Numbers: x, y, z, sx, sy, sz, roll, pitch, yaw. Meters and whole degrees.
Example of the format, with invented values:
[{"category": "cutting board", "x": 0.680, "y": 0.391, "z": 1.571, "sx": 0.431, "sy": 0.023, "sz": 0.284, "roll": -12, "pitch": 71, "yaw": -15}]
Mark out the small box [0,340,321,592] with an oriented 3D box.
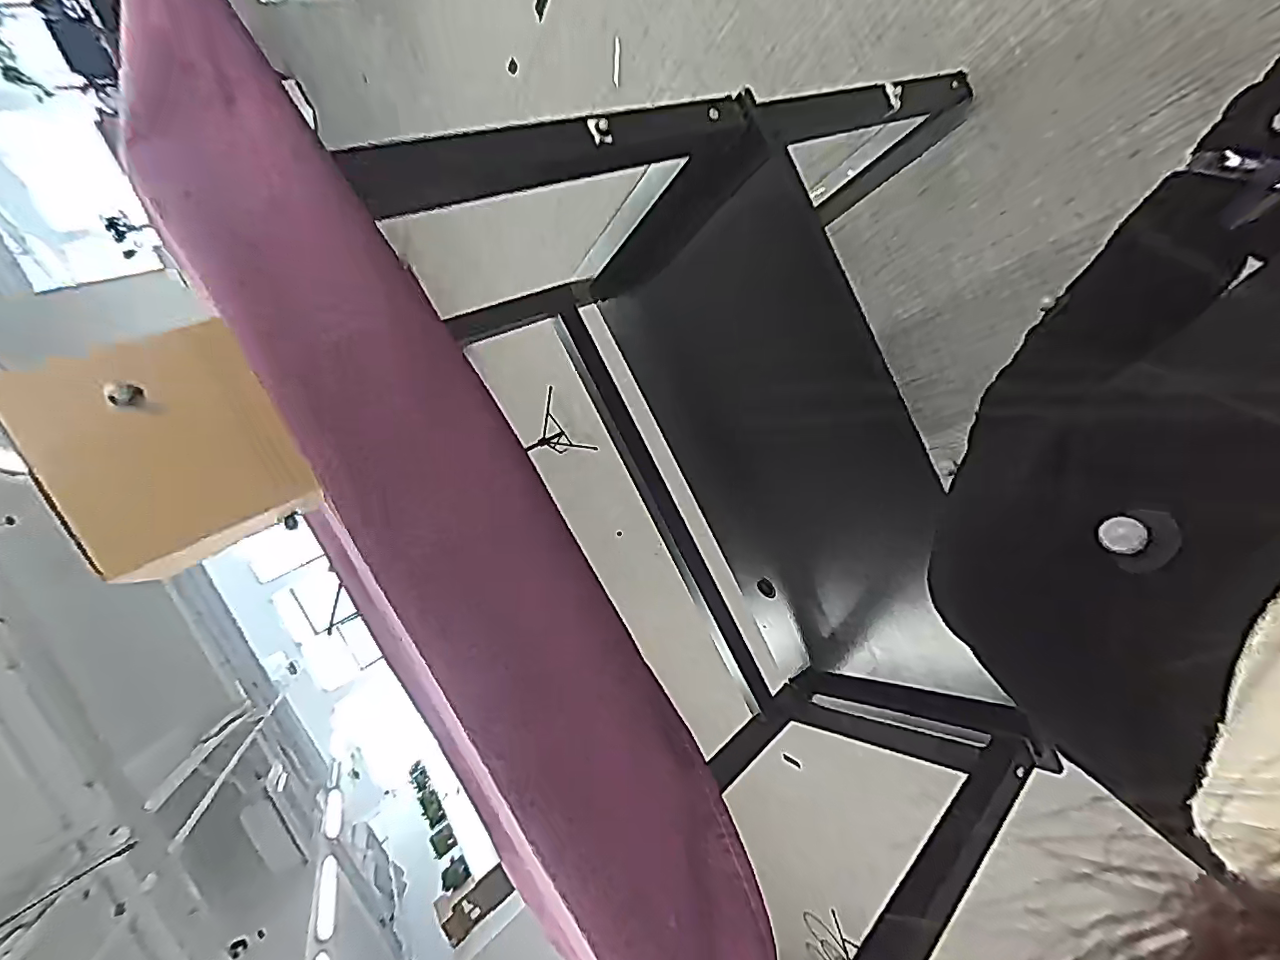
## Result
[{"category": "small box", "x": -0.433, "y": -0.016, "z": 0.515, "sx": 0.168, "sy": 0.176, "sz": 0.179, "roll": -14, "pitch": 105, "yaw": 60}]
